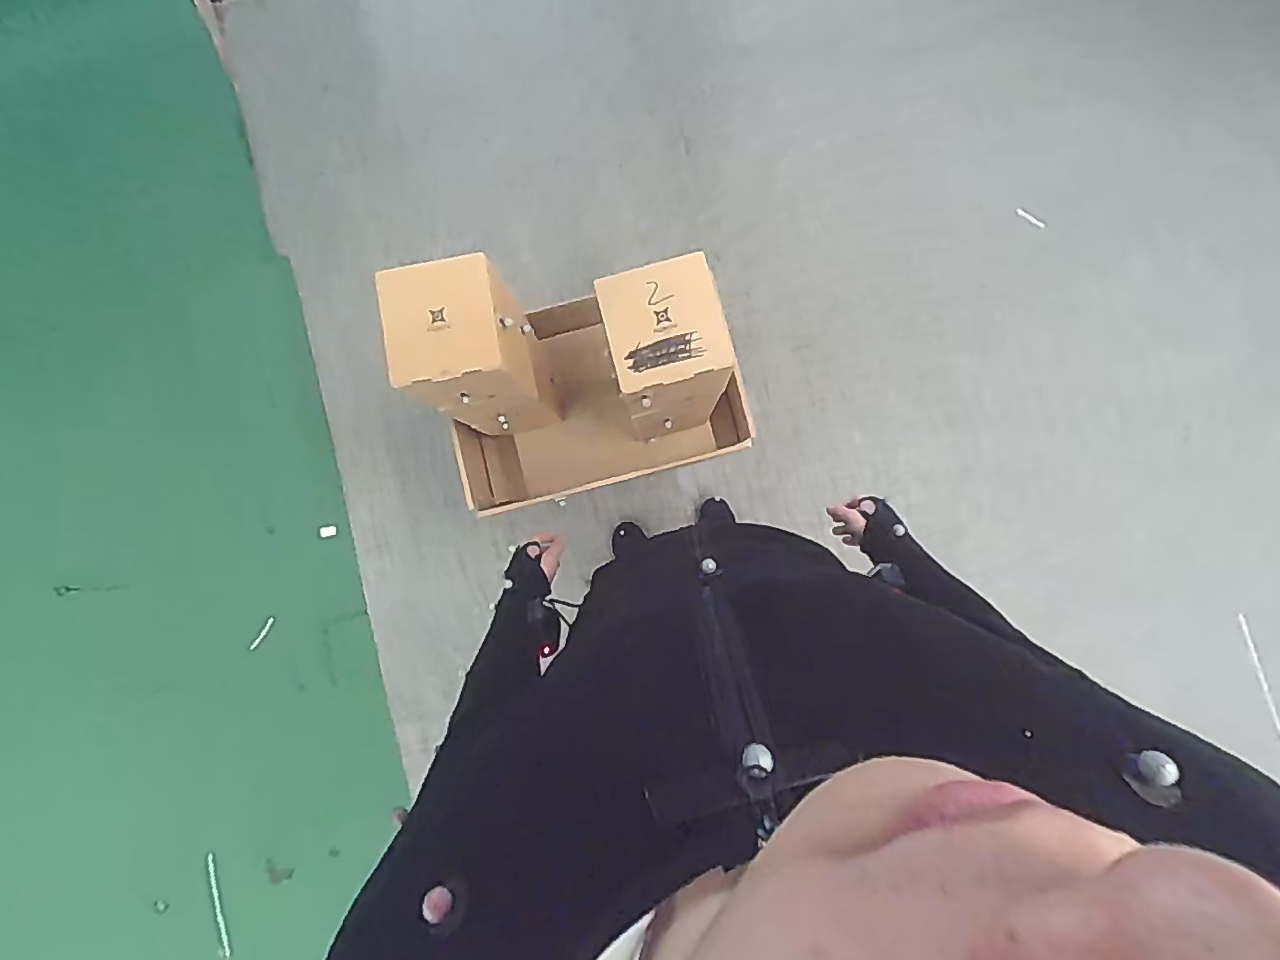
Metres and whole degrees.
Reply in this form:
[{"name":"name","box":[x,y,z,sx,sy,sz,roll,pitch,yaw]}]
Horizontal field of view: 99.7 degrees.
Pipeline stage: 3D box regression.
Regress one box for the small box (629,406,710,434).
[{"name":"small box","box":[0.046,-0.204,1.167,0.168,0.176,0.179,-15,85,1]}]

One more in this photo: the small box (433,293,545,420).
[{"name":"small box","box":[-0.286,-0.223,1.015,0.168,0.176,0.179,-11,87,2]}]

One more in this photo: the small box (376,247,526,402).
[{"name":"small box","box":[-0.288,-0.234,0.854,0.168,0.176,0.179,-10,87,1]}]

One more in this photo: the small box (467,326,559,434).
[{"name":"small box","box":[-0.283,-0.211,1.179,0.168,0.176,0.179,-12,86,1]}]

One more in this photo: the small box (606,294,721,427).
[{"name":"small box","box":[0.040,-0.212,1.005,0.168,0.176,0.179,-16,86,1]}]
